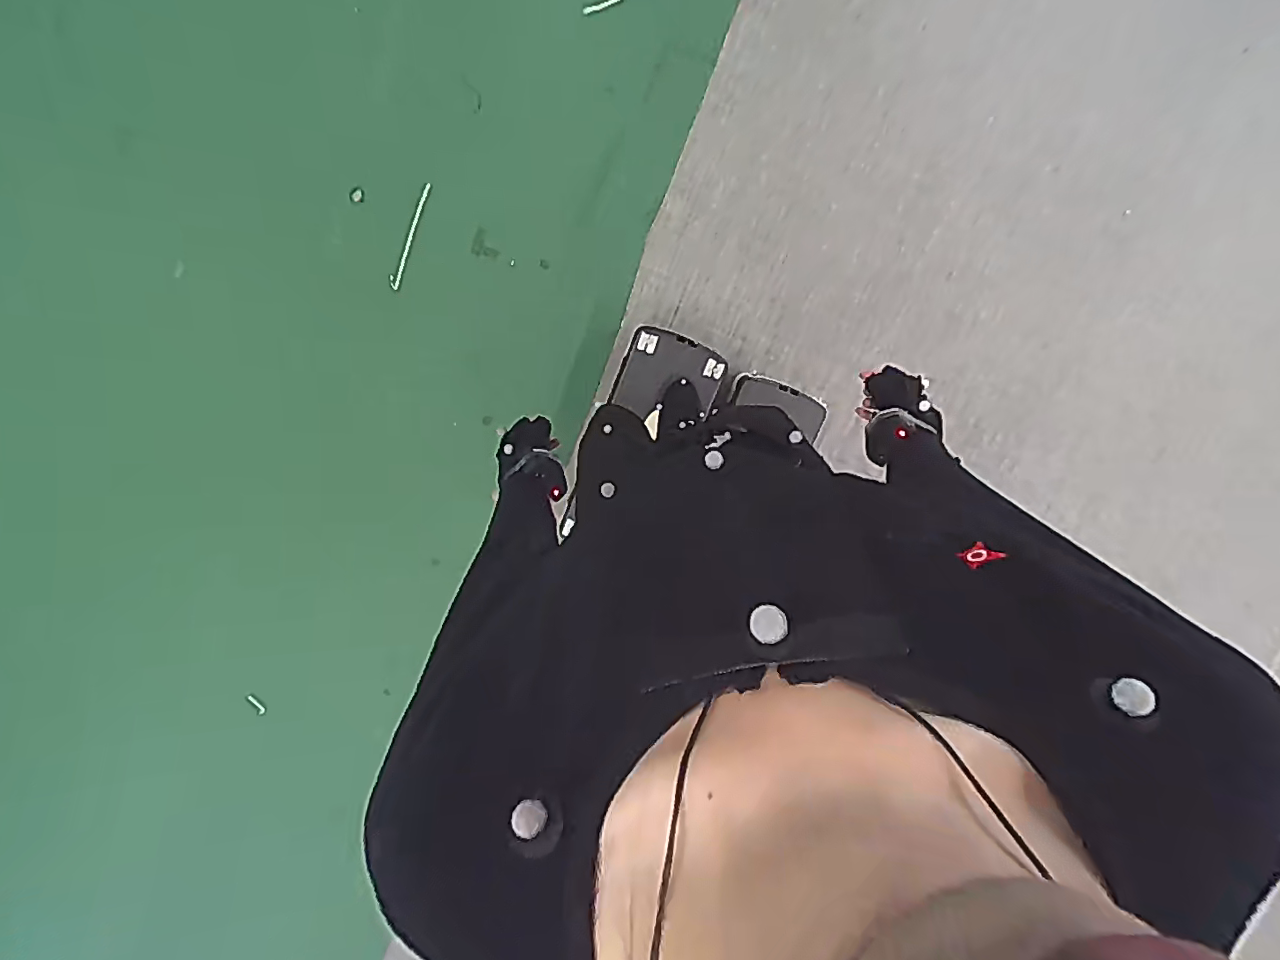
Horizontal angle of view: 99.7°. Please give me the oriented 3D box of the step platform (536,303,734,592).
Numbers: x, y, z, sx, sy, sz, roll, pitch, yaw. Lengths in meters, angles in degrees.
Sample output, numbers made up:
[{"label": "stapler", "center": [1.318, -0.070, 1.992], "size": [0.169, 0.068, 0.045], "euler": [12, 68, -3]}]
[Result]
[{"label": "step platform", "center": [-0.019, -0.077, 1.373], "size": [0.286, 0.204, 0.684], "euler": [21, 100, -6]}]
